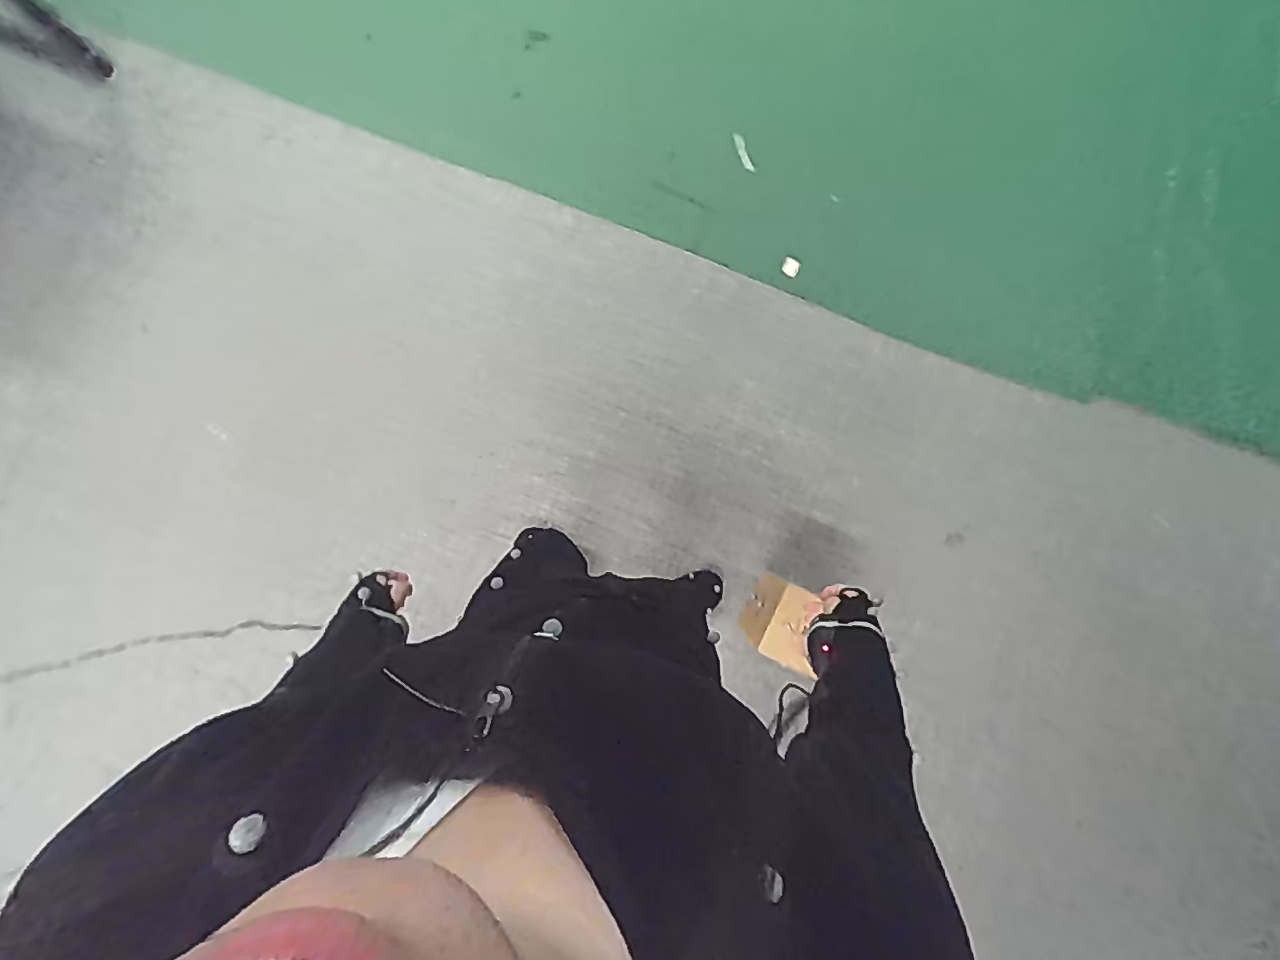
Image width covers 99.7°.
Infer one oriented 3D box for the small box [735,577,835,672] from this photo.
[{"bbox_3d":[0.365,0.365,1.401,0.179,0.176,0.168,30,87,4],"label":"small box"}]
